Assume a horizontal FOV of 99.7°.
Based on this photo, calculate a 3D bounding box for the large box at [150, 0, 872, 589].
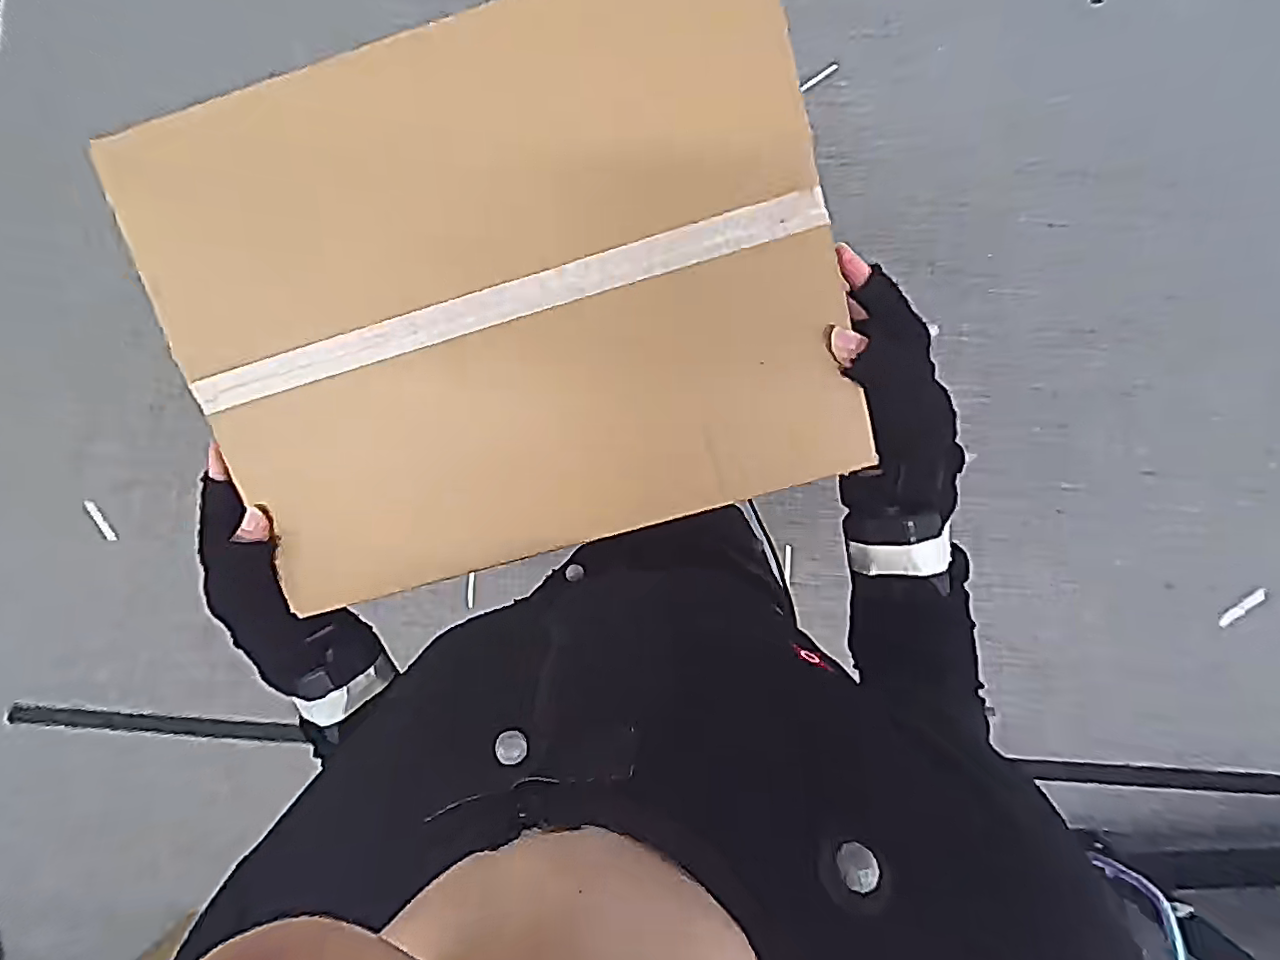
[{"bbox_3d":[-0.074,-0.142,0.490,0.408,0.320,0.320,-14,101,4],"label":"large box"}]
